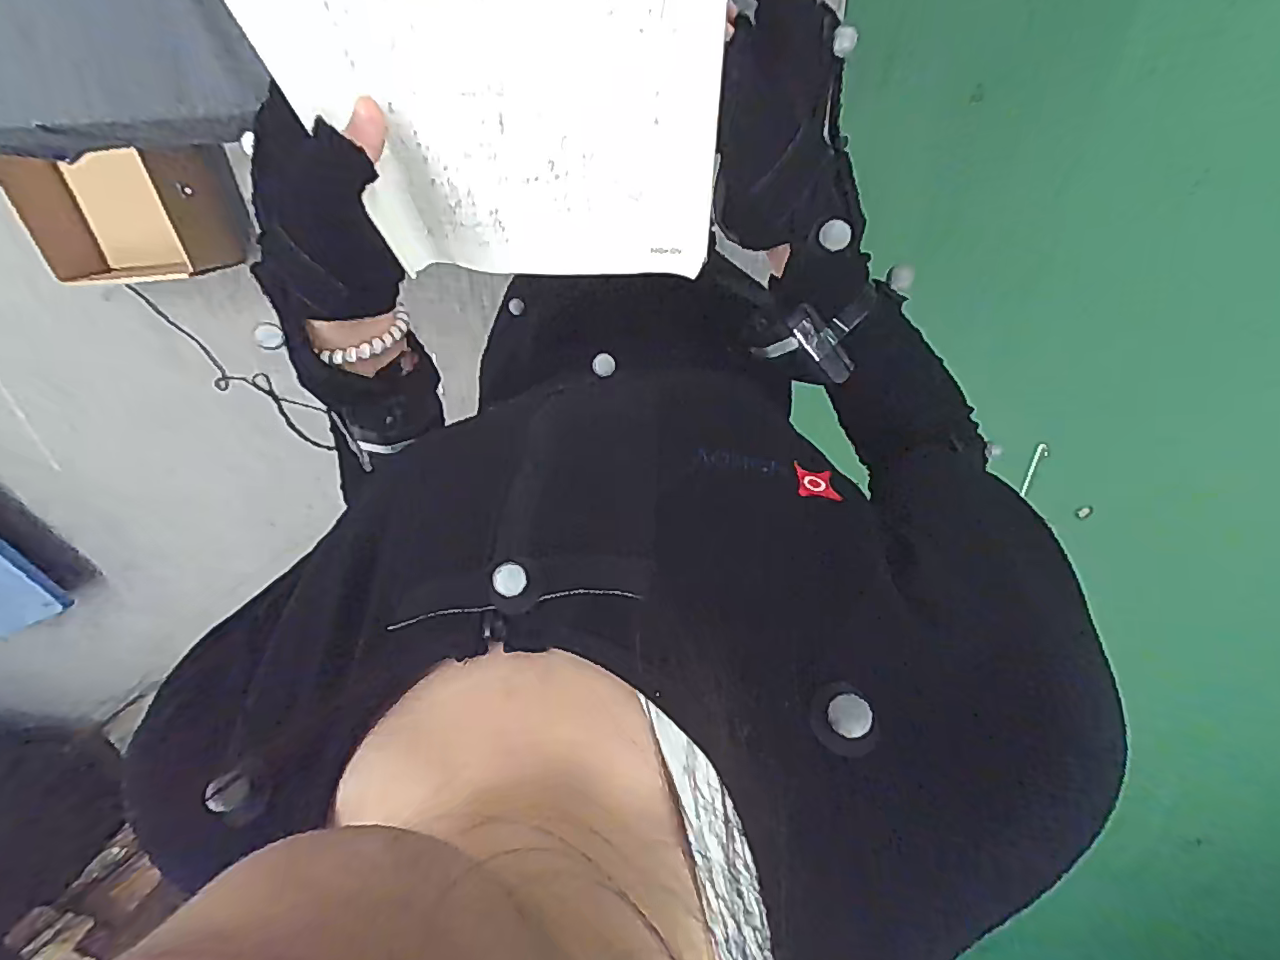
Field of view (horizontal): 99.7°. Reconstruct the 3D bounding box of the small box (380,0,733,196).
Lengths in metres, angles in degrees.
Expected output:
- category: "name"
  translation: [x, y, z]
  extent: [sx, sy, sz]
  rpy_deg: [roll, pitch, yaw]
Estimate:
- category: "small box"
  translation: [-0.040, -0.288, 0.310]
  extent: [0.168, 0.176, 0.179]
  rpy_deg: [-5, 129, 10]
